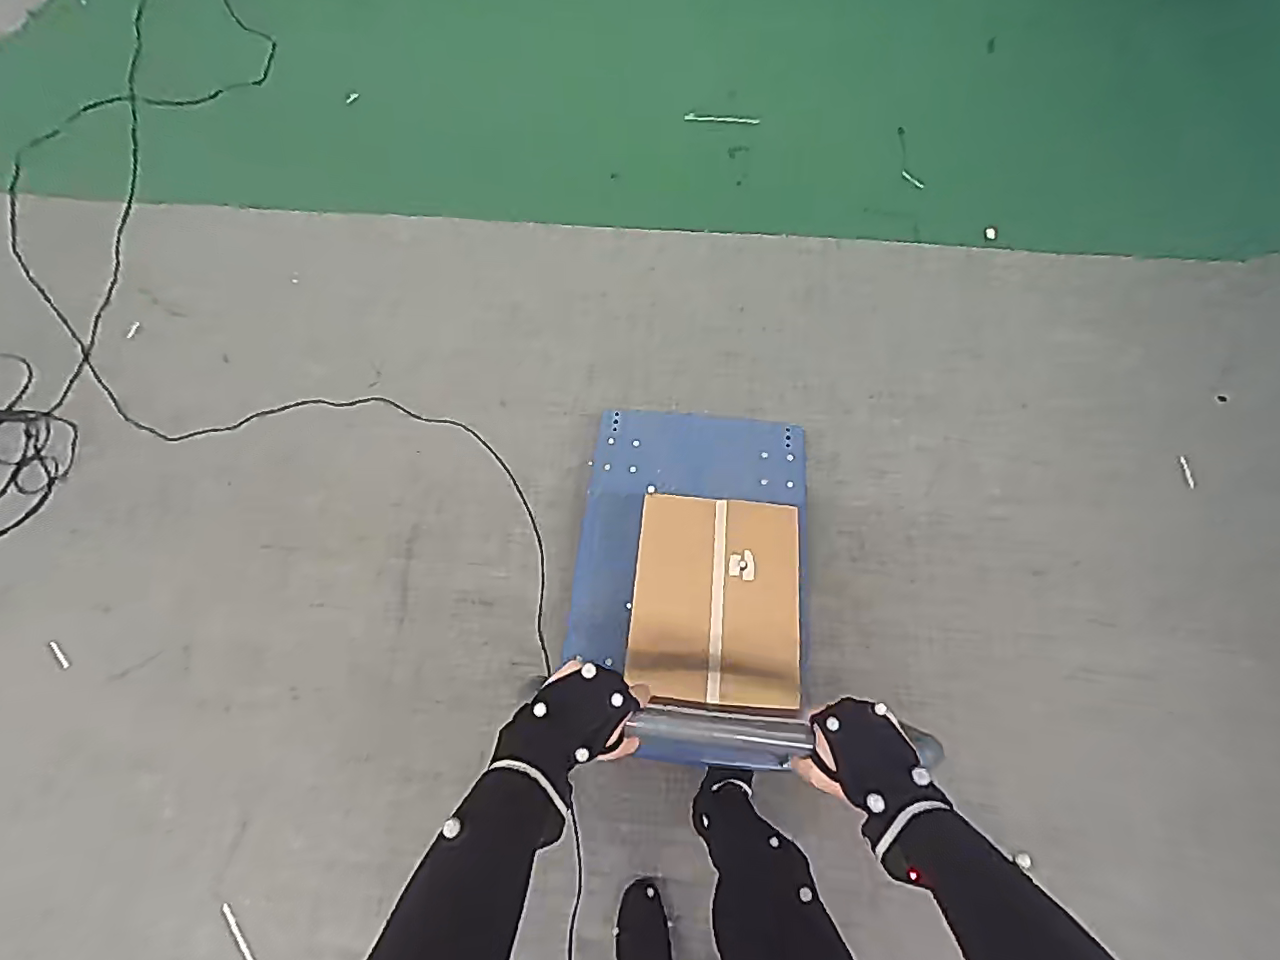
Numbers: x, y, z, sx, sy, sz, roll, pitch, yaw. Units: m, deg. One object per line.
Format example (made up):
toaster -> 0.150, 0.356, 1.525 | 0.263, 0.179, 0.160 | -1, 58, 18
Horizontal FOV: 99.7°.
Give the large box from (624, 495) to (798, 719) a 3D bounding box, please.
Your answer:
large box -> 0.141, 0.286, 1.167 | 0.320, 0.320, 0.408 | 5, 65, 2
